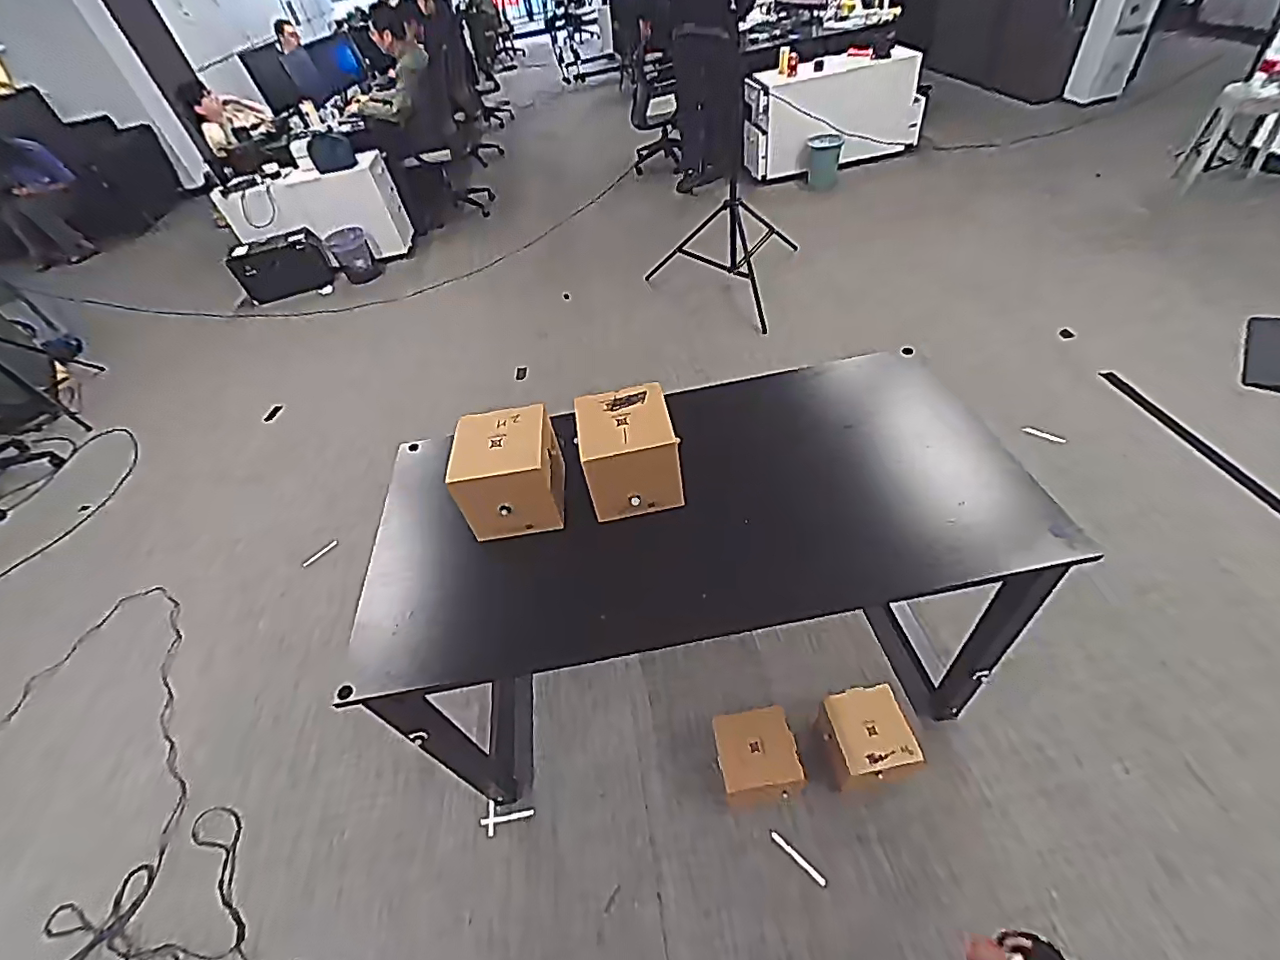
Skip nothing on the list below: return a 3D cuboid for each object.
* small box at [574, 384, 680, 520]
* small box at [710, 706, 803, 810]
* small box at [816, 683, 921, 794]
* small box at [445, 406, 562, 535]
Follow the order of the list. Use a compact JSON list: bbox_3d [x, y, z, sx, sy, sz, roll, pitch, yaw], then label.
[{"bbox_3d":[-0.024,-0.051,1.015,0.168,0.176,0.179,-12,47,0],"label":"small box"},{"bbox_3d":[0.273,0.667,1.294,0.179,0.176,0.168,-12,45,1],"label":"small box"},{"bbox_3d":[0.531,0.616,1.287,0.168,0.176,0.179,-12,46,0],"label":"small box"},{"bbox_3d":[-0.245,-0.011,1.020,0.168,0.176,0.179,-8,46,2],"label":"small box"}]
